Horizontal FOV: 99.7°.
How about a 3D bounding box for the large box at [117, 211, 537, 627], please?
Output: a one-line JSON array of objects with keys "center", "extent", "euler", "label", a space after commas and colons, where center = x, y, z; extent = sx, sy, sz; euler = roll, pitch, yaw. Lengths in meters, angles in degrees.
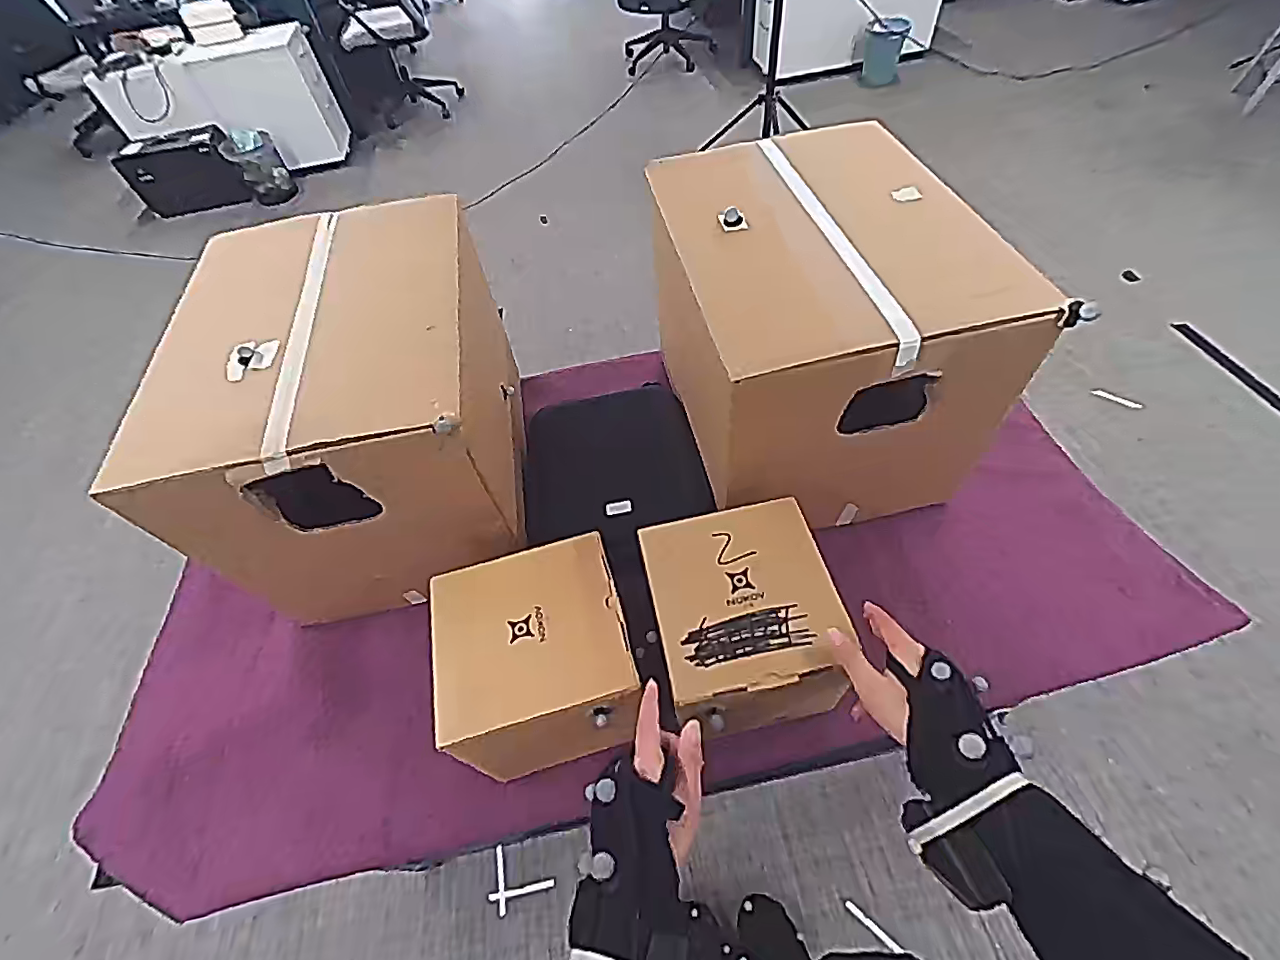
[{"center": [-0.336, -0.077, 0.705], "extent": [0.320, 0.320, 0.408], "euler": [-13, 56, -3], "label": "large box"}]
